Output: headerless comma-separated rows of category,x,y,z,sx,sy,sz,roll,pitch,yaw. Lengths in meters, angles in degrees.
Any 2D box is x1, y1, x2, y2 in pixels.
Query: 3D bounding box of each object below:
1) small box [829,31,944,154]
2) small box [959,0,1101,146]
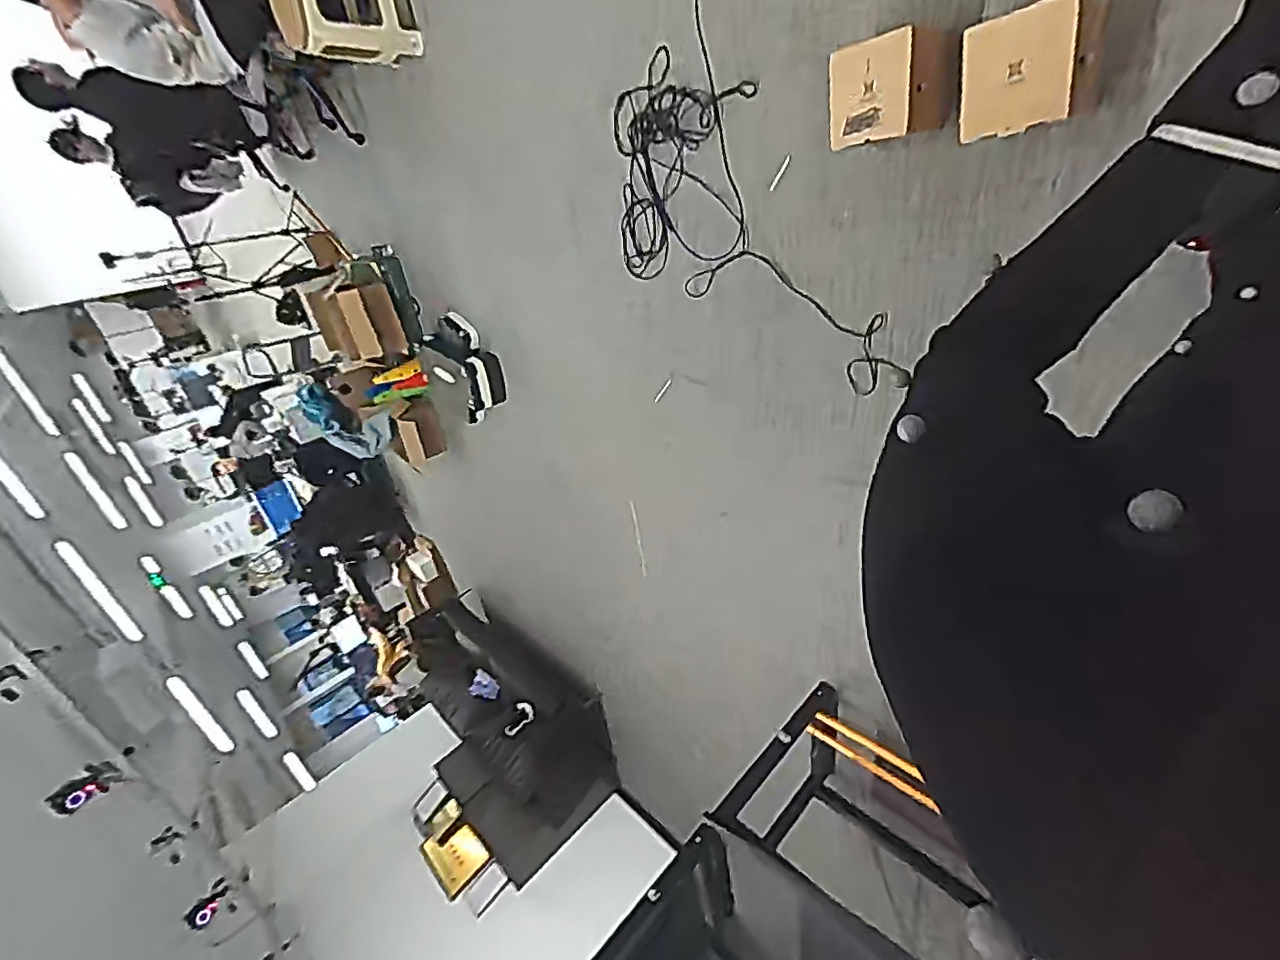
small box,0.511,-0.799,1.124,0.168,0.176,0.179,18,128,44
small box,0.691,-0.718,0.961,0.168,0.176,0.179,15,127,46
